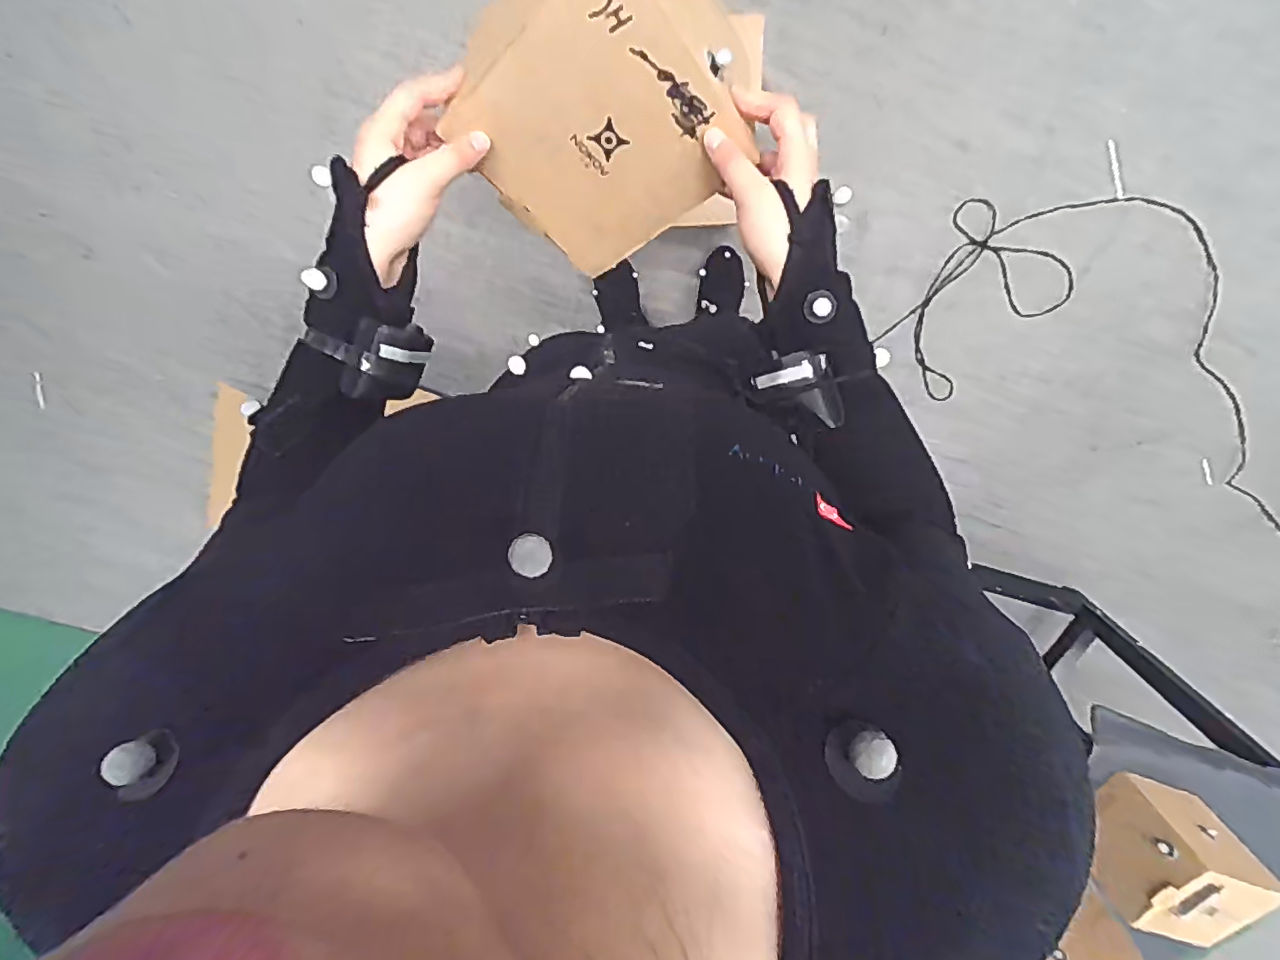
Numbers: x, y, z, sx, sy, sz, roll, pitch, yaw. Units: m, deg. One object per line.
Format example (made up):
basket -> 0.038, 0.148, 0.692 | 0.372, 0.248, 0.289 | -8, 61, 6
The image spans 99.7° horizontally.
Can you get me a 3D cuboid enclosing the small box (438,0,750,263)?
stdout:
small box -> -0.027, -0.325, 0.437 | 0.179, 0.176, 0.168 | -21, 142, 35
